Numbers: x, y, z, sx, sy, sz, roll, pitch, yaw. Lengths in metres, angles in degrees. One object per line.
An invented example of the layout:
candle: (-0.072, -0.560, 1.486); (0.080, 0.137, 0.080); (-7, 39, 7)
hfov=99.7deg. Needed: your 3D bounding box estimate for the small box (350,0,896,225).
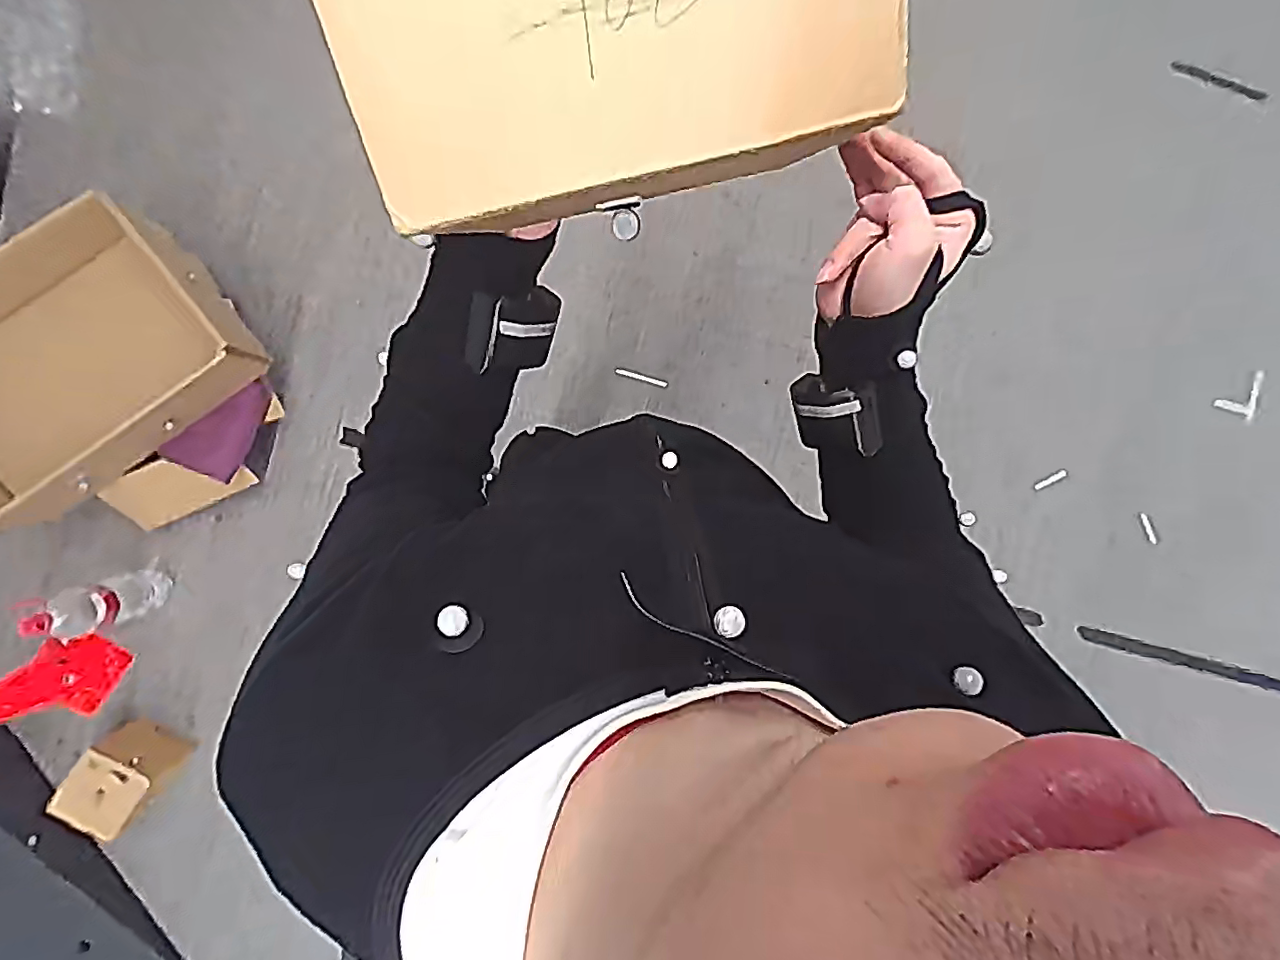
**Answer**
small box: (-0.011, -0.214, 0.222); (0.168, 0.176, 0.179); (-9, 115, 7)
